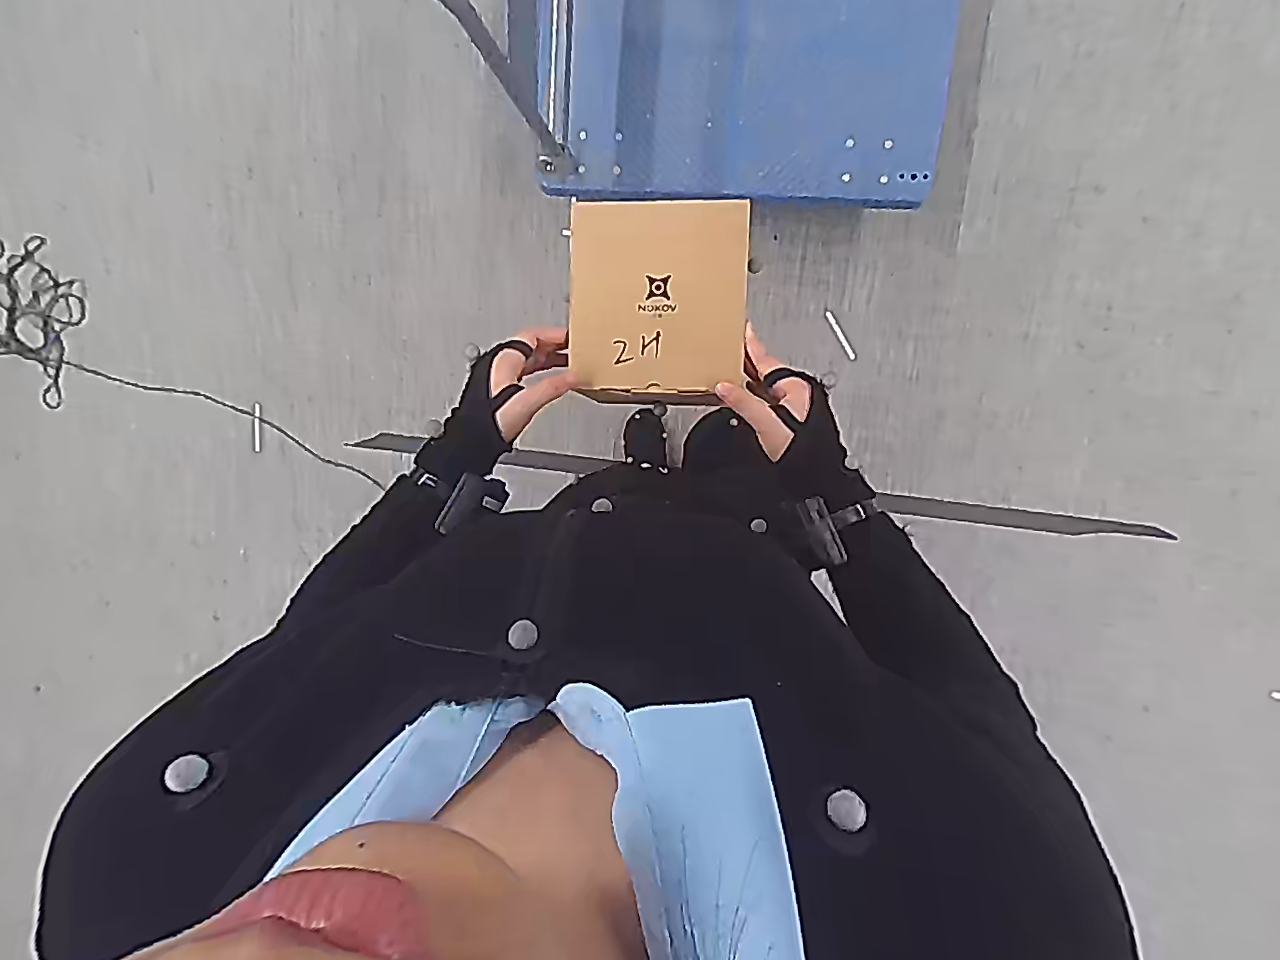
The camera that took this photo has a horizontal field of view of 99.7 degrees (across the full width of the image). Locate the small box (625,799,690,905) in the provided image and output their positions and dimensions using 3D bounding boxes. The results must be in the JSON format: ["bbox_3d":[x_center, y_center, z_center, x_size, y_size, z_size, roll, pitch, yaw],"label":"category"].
[{"bbox_3d":[0.054,1.056,1.544,0.168,0.176,0.179,4,98,4],"label":"small box"}]

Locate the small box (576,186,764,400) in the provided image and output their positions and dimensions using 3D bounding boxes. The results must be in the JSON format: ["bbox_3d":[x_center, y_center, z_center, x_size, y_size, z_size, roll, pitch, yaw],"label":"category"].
[{"bbox_3d":[0.032,-0.182,0.572,0.168,0.176,0.179,3,94,5],"label":"small box"}]
